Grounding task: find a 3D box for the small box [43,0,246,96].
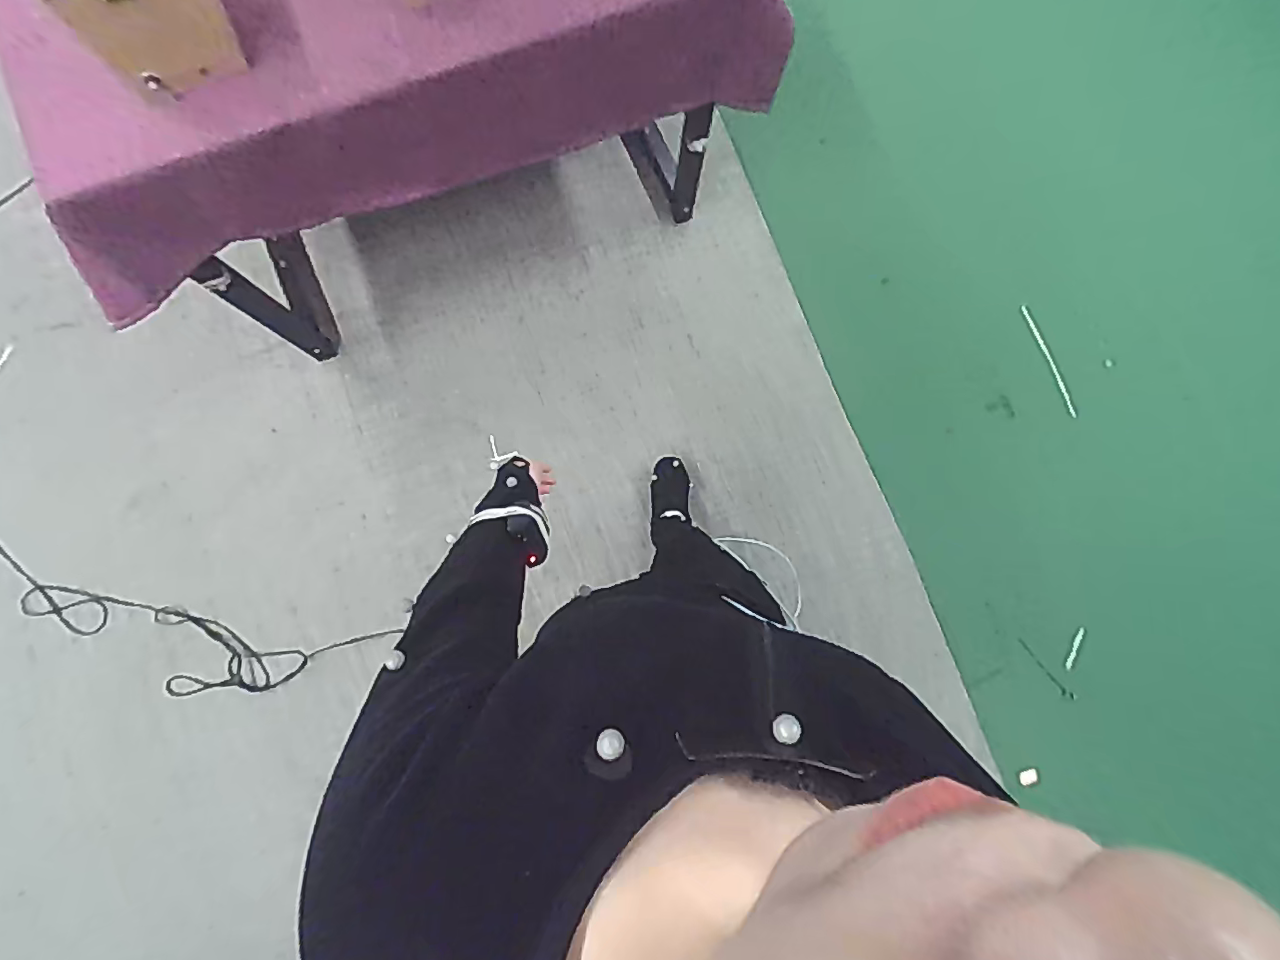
[{"bbox_3d":[-0.724,-0.704,0.786,0.168,0.176,0.179,-24,82,-6],"label":"small box"}]
